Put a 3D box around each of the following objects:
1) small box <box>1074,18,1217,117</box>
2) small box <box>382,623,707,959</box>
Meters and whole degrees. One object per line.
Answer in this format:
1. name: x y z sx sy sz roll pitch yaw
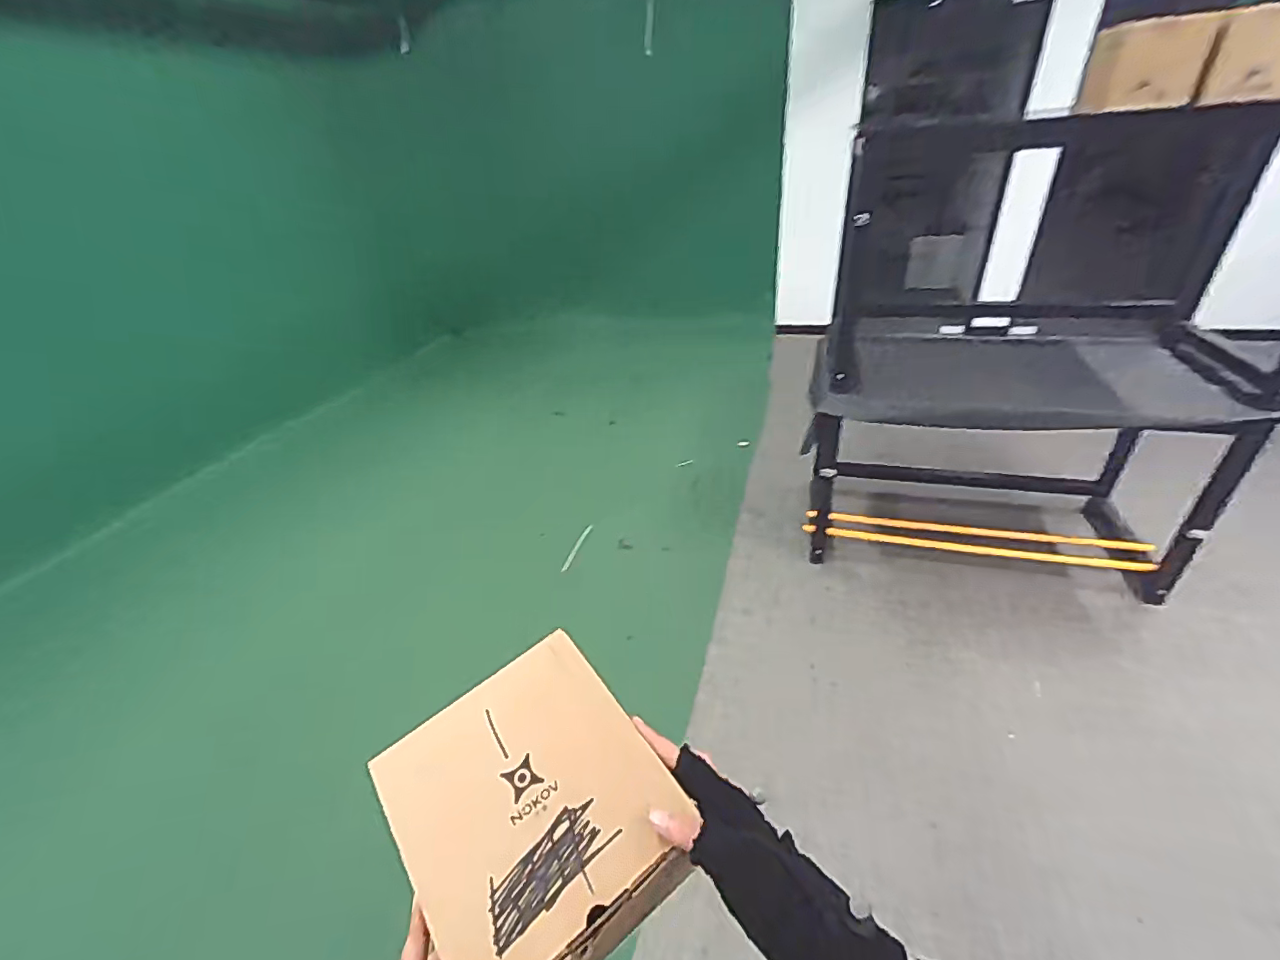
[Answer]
1. small box: 1.175 -0.964 1.278 0.168 0.176 0.179 5 34 15
2. small box: -0.062 0.254 0.421 0.168 0.176 0.179 -30 51 -21
